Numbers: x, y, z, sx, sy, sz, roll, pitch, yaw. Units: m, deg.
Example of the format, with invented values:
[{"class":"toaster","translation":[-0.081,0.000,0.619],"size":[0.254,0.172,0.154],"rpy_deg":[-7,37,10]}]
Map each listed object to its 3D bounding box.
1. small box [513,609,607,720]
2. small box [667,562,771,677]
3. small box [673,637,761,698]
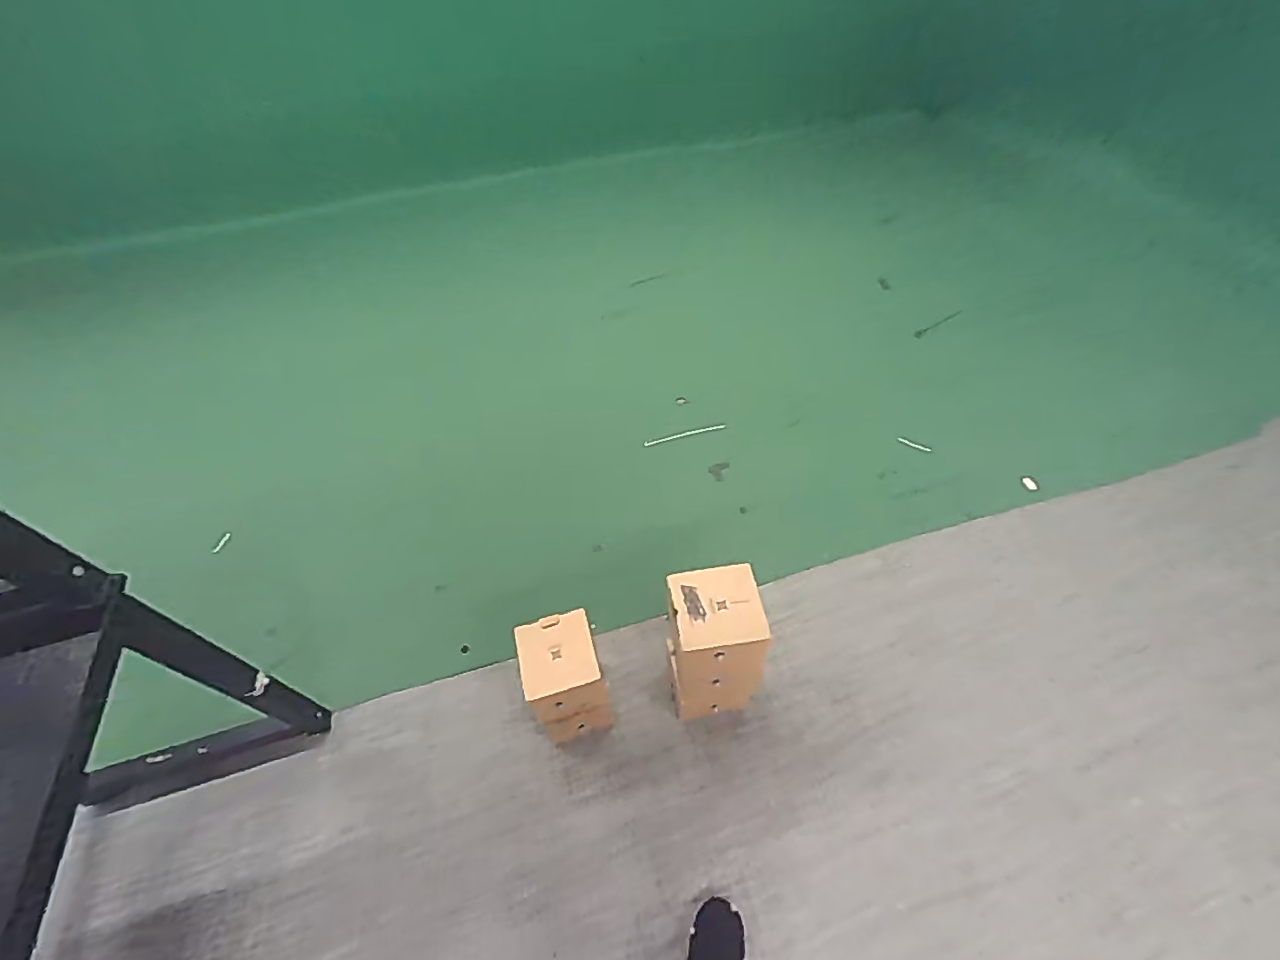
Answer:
[{"class":"small box","translation":[-0.179,0.428,1.236],"size":[0.168,0.176,0.179],"rpy_deg":[-15,51,-8]},{"class":"small box","translation":[0.154,0.291,1.113],"size":[0.179,0.176,0.168],"rpy_deg":[-8,52,-3]},{"class":"small box","translation":[0.168,0.391,1.243],"size":[0.179,0.176,0.168],"rpy_deg":[-6,53,-2]}]
